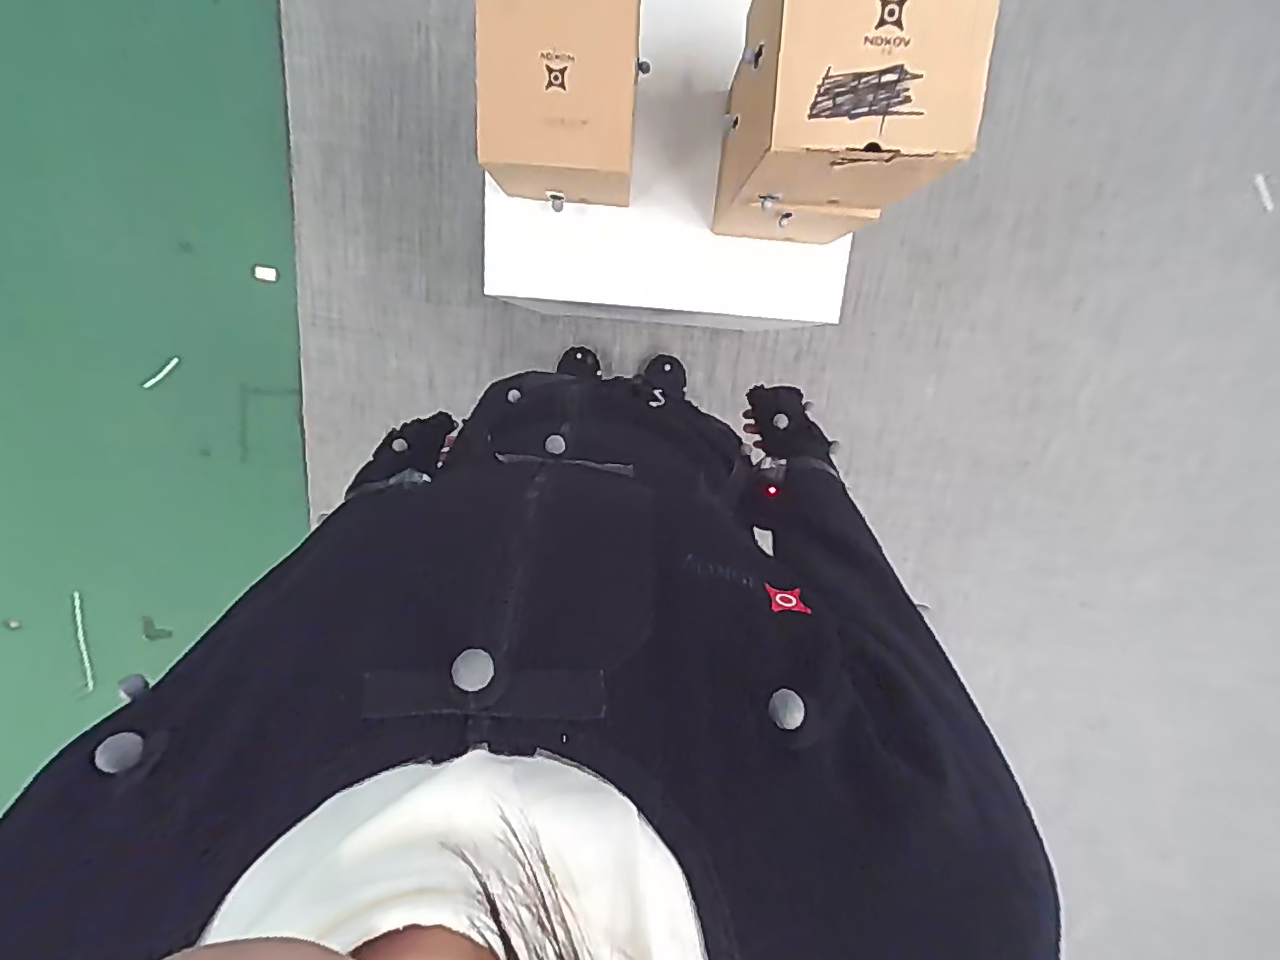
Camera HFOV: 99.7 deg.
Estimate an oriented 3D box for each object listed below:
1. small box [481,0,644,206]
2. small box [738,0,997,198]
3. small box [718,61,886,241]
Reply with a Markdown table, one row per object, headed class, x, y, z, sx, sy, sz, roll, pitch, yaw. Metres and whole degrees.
| class | x | y | z | sx | sy | sz | roll | pitch | yaw |
| --- | --- | --- | --- | --- | --- | --- | --- | --- | --- |
| small box | -0.083 | -0.441 | 0.637 | 0.168 | 0.176 | 0.179 | 3 | 106 | 0 |
| small box | 0.185 | -0.367 | 0.484 | 0.168 | 0.176 | 0.179 | 2 | 104 | 0 |
| small box | 0.191 | -0.401 | 0.646 | 0.168 | 0.176 | 0.179 | 5 | 104 | 0 |
